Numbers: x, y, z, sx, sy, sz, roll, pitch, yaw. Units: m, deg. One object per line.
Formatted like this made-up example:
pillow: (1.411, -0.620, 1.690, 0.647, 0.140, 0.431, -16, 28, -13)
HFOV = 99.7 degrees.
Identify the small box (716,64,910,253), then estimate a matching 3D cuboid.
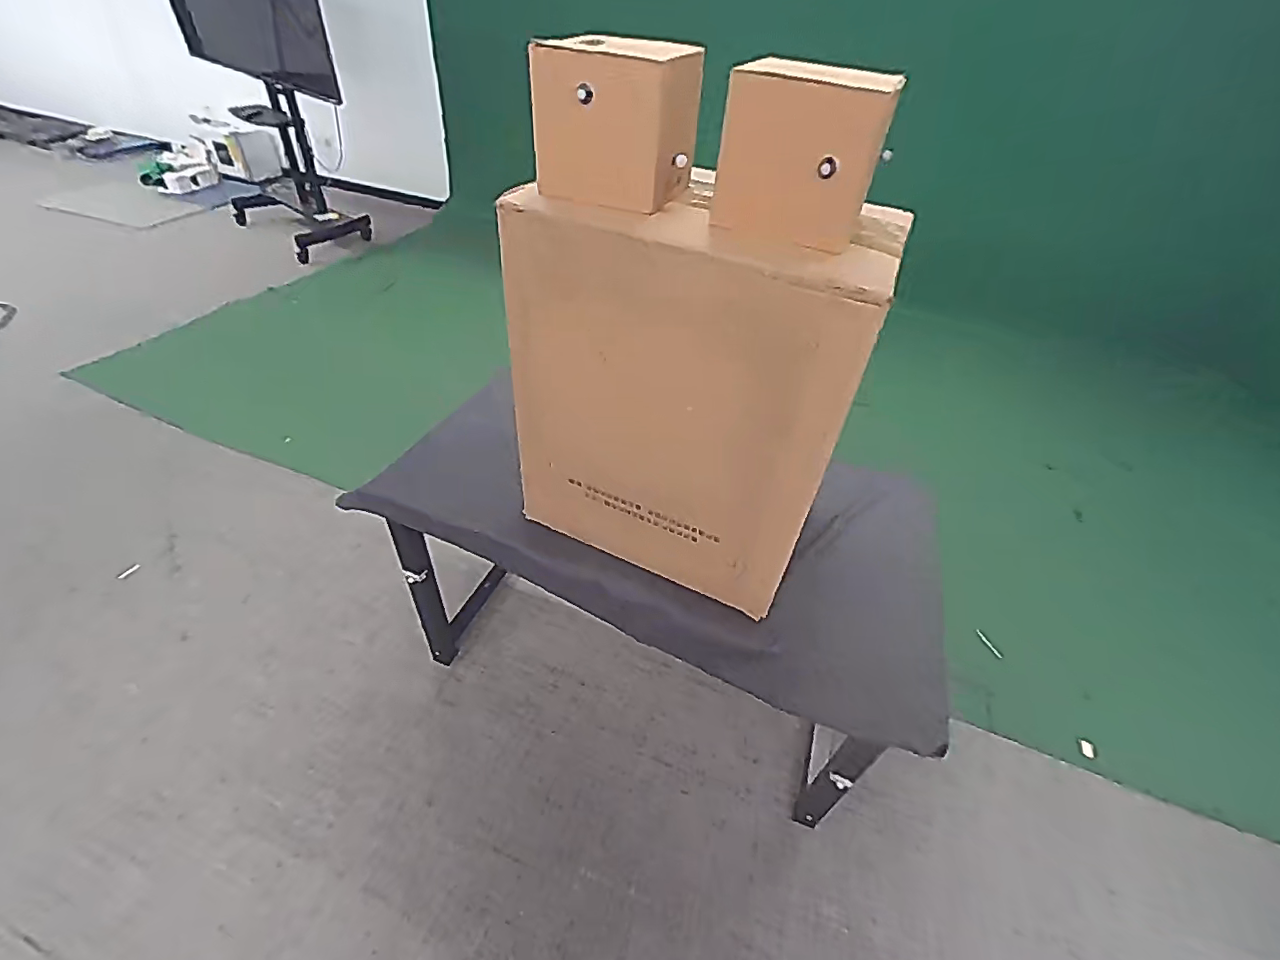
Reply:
small box: (0.214, -0.407, 0.688, 0.179, 0.176, 0.168, 20, 45, 16)

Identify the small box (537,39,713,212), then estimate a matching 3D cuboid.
small box: (-0.018, -0.488, 0.746, 0.179, 0.176, 0.168, 21, 48, 17)
